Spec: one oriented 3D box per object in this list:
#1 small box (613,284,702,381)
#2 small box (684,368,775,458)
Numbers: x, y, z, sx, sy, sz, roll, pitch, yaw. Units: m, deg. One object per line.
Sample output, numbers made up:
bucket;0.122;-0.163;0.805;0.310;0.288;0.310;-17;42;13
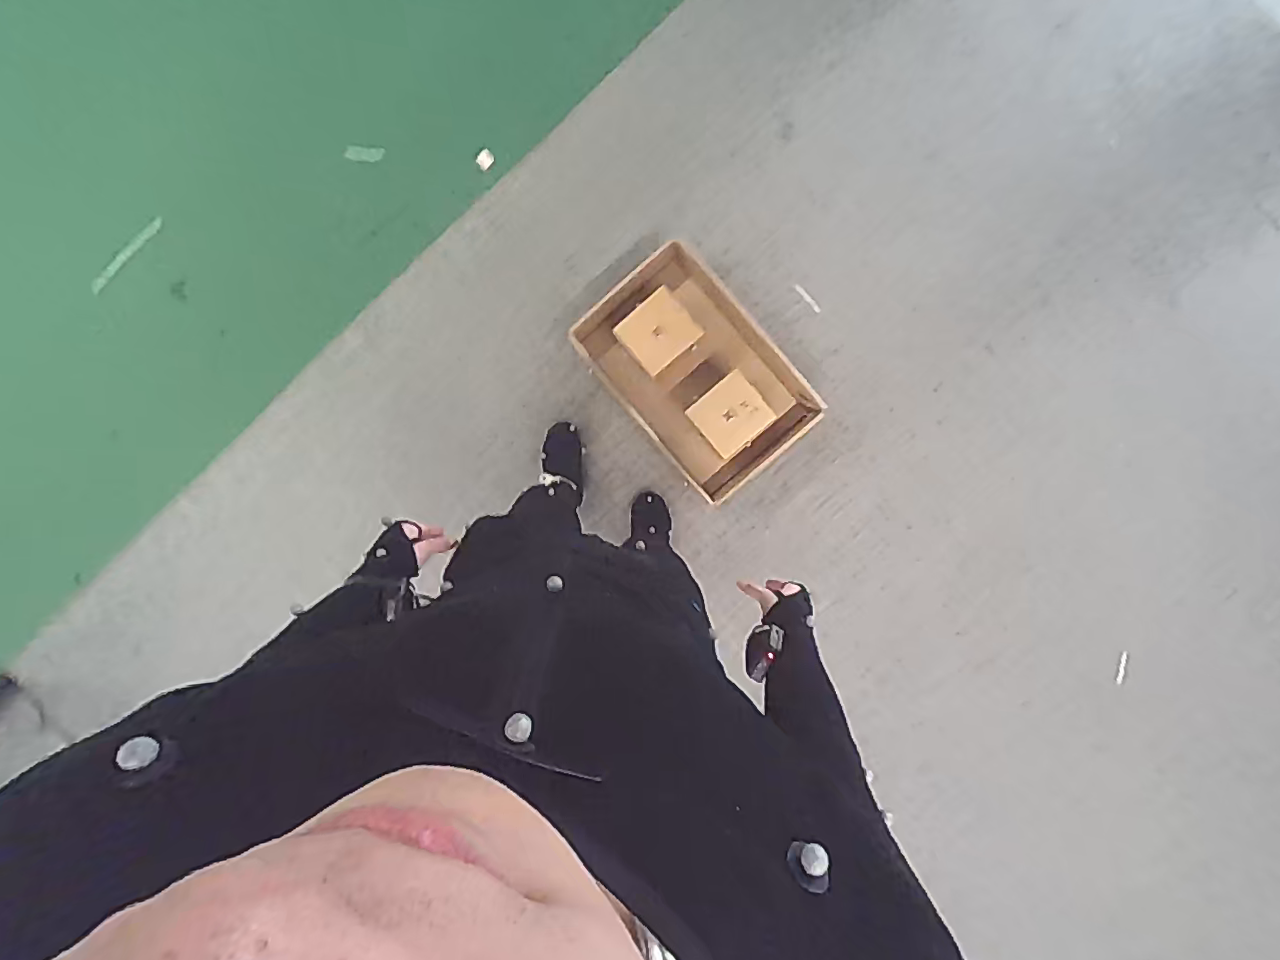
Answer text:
small box;0.049;-0.390;1.466;0.179;0.176;0.168;-40;91;3
small box;0.236;-0.173;1.463;0.179;0.176;0.168;-39;90;4
